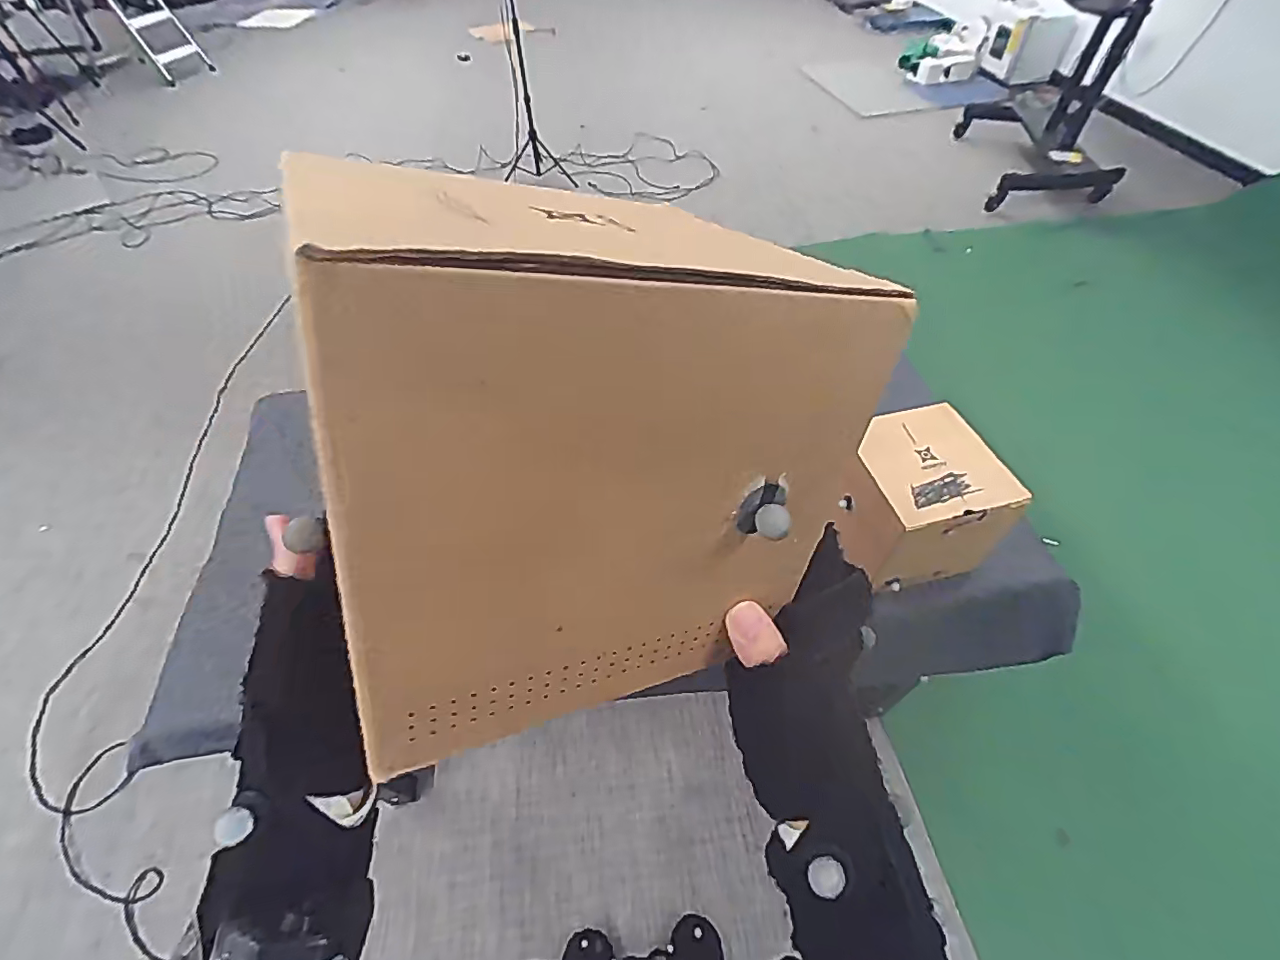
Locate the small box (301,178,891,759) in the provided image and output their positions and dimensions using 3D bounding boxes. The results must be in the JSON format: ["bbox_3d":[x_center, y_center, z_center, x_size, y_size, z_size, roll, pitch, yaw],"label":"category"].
[{"bbox_3d":[-0.037,-0.019,0.242,0.179,0.176,0.168,-9,36,-29],"label":"small box"}]

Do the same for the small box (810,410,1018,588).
[{"bbox_3d":[0.358,0.033,0.749,0.168,0.176,0.179,-11,51,-7],"label":"small box"}]
